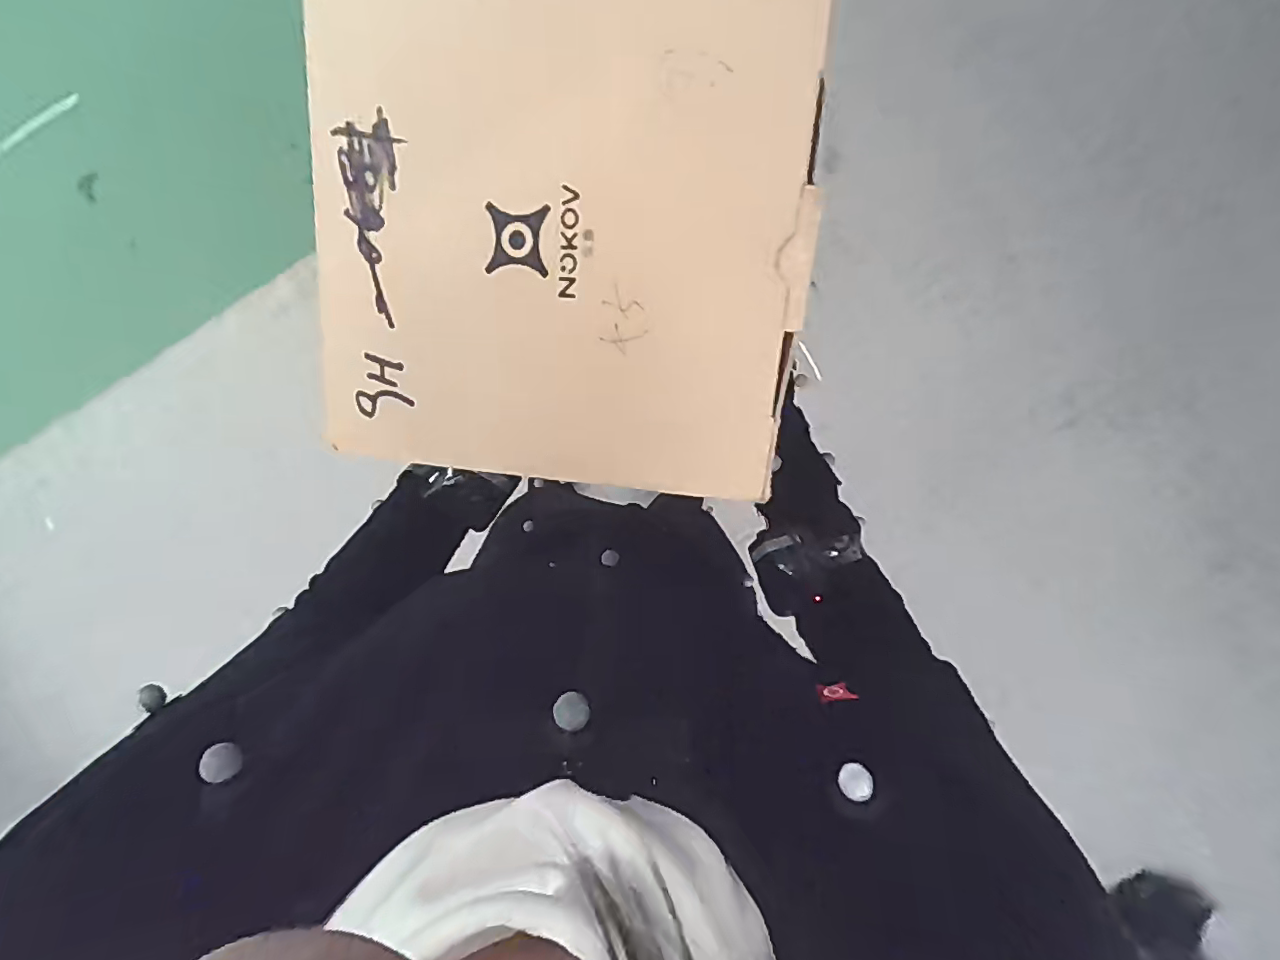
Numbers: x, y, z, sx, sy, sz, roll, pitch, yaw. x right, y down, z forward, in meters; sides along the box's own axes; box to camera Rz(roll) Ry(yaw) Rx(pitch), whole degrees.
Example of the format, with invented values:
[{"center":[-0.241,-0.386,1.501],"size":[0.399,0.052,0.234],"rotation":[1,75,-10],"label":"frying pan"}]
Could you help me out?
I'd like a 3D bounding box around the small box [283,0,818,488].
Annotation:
[{"center":[-0.027,-0.102,0.264],"size":[0.179,0.176,0.168],"rotation":[6,103,8],"label":"small box"}]
